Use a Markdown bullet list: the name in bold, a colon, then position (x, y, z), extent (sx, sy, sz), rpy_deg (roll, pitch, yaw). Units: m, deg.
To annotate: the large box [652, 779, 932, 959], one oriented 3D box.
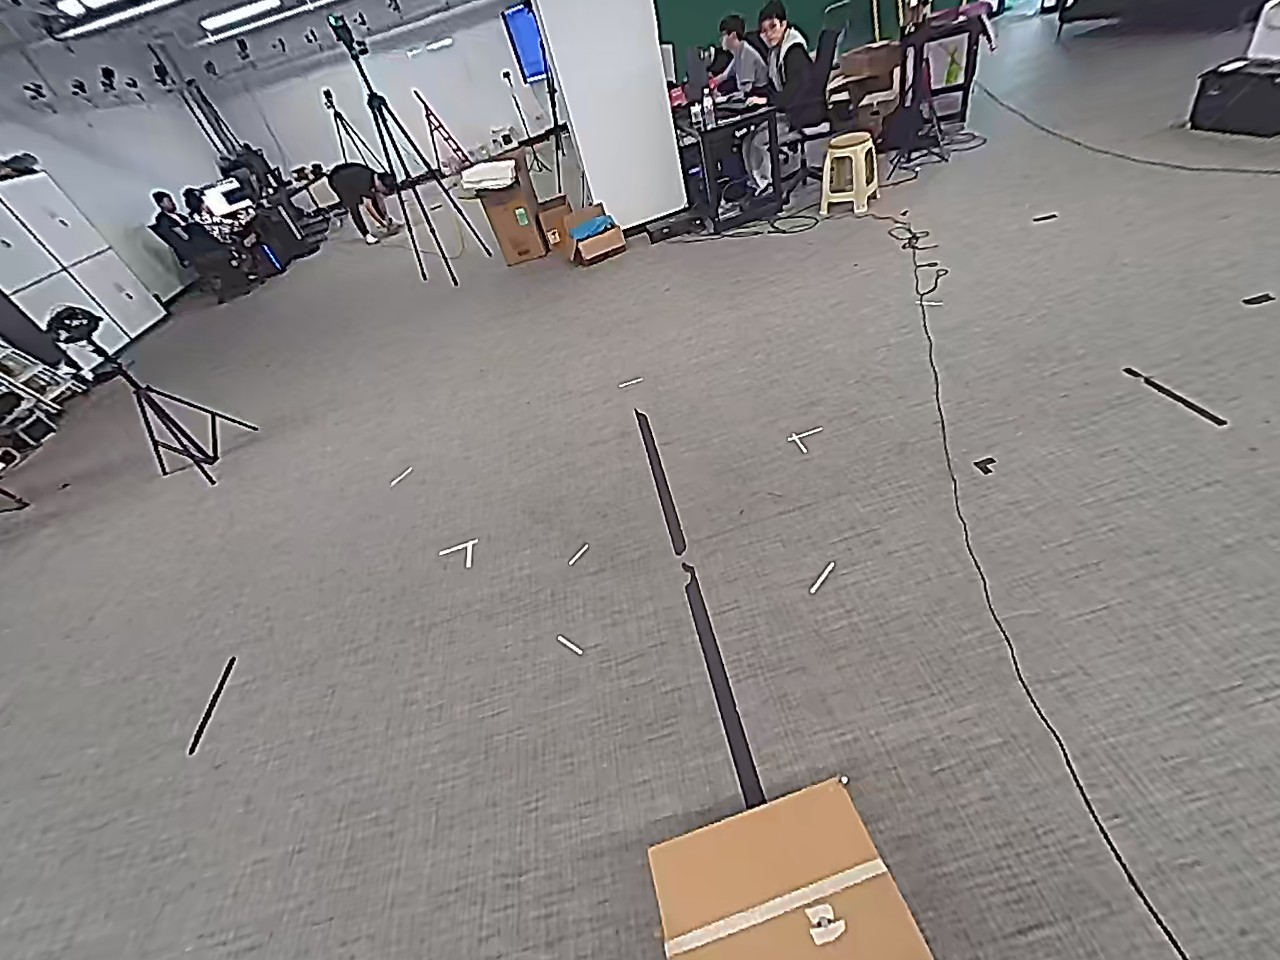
- **large box**: position (0.280, 0.862, 1.043), extent (0.408, 0.320, 0.320), rpy_deg (-20, 39, -1)
